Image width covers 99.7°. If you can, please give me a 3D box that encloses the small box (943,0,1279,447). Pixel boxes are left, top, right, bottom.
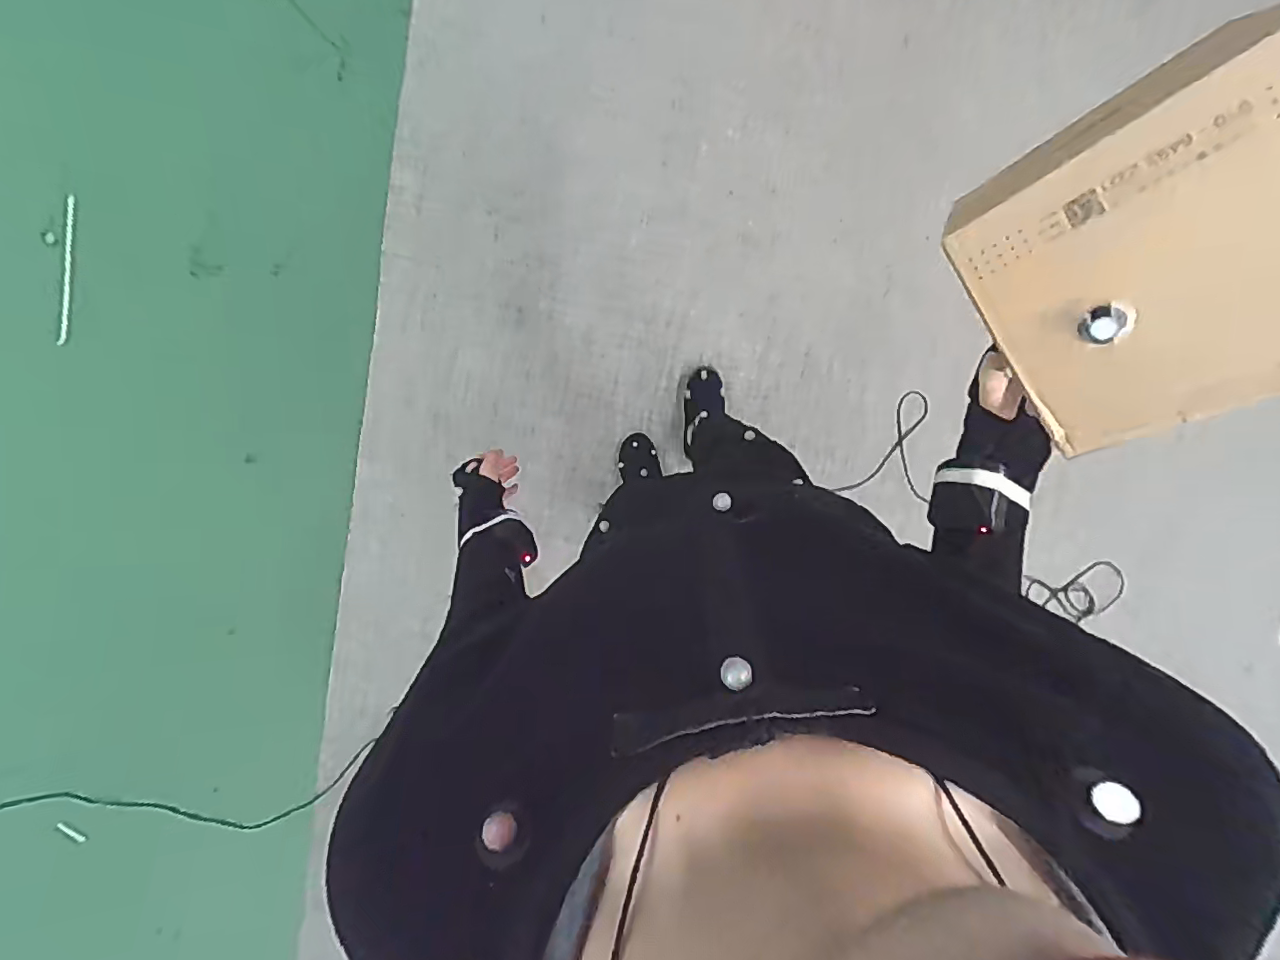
[{"bbox_3d":[0.315,-0.155,0.342,0.168,0.179,0.176,-26,104,42],"label":"small box"}]
